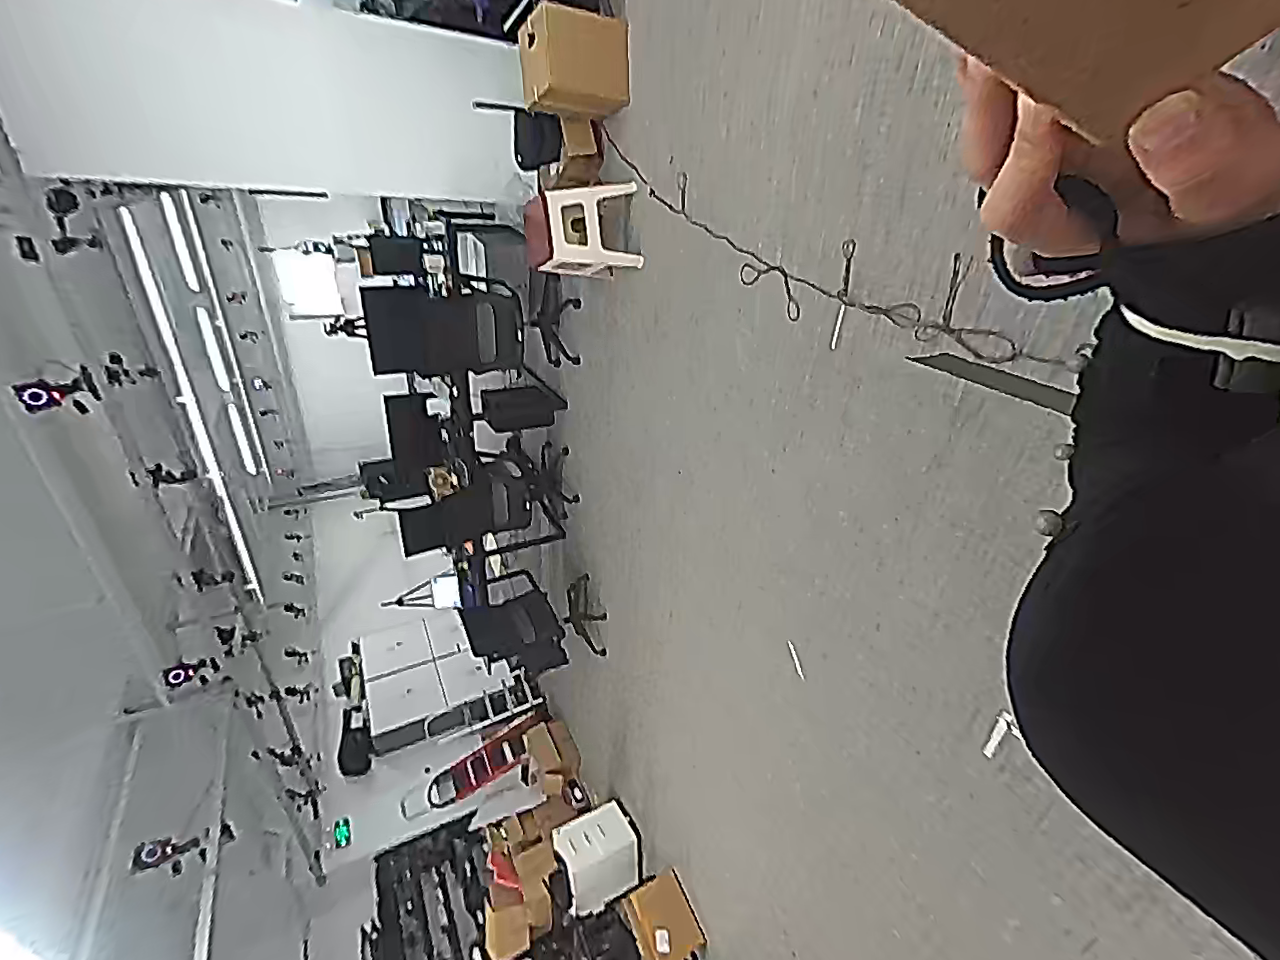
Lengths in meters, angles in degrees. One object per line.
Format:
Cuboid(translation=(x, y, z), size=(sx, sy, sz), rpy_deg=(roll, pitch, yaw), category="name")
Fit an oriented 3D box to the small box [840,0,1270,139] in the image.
Cuboid(translation=(0.092, -0.213, 0.083), size=(0.179, 0.168, 0.176), rpy_deg=(146, 125, -59), category="small box")
